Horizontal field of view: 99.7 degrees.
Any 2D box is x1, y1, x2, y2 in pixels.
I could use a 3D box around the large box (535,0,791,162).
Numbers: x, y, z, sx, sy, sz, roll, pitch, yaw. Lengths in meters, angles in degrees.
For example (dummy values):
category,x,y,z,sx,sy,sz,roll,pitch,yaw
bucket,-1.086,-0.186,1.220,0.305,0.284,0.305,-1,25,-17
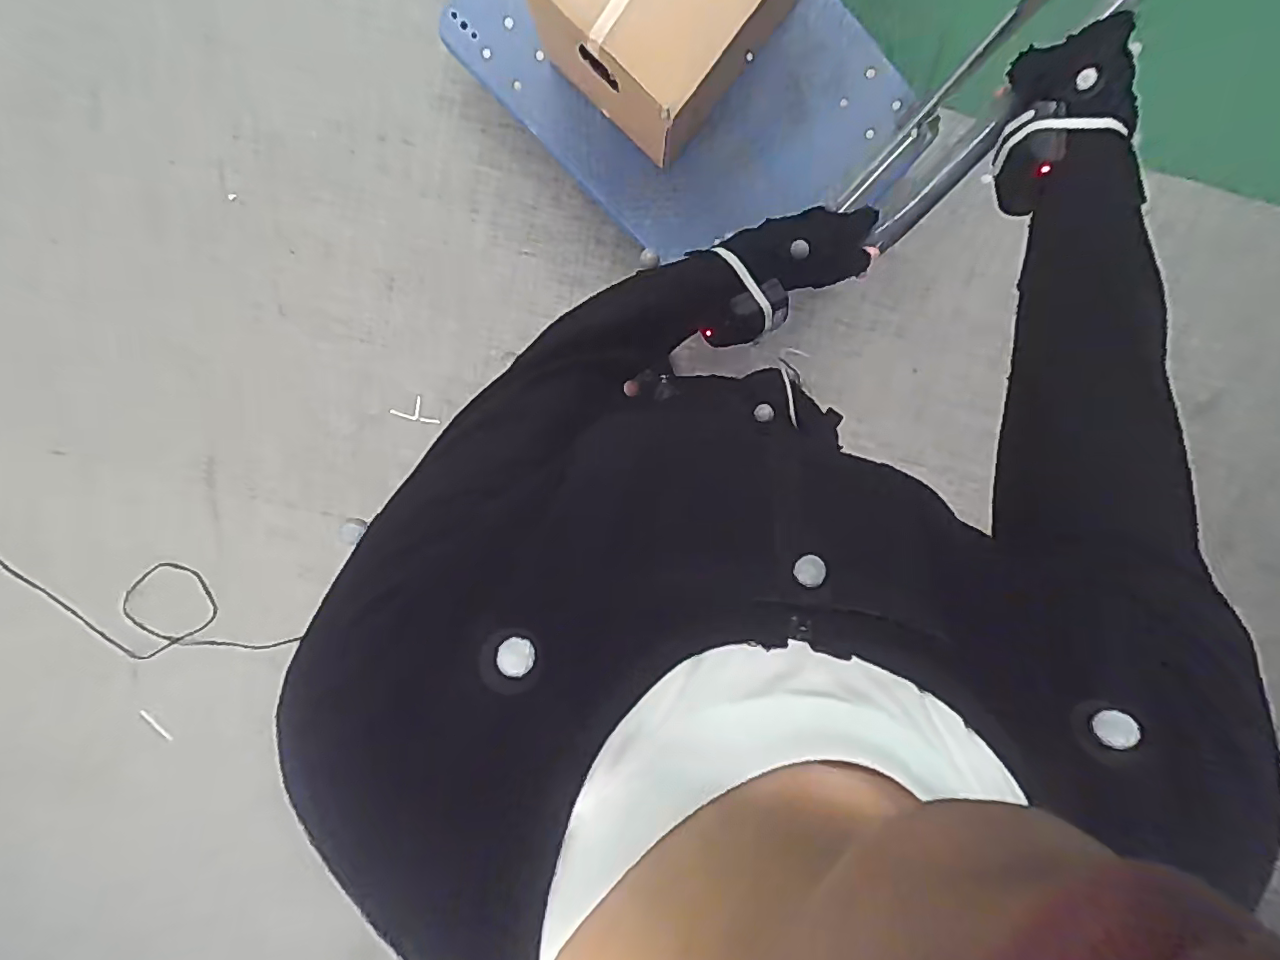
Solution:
category,x,y,z,sx,sy,sz,roll,pitch,yaw
large box,0.070,-0.846,0.906,0.320,0.320,0.408,39,104,-10
